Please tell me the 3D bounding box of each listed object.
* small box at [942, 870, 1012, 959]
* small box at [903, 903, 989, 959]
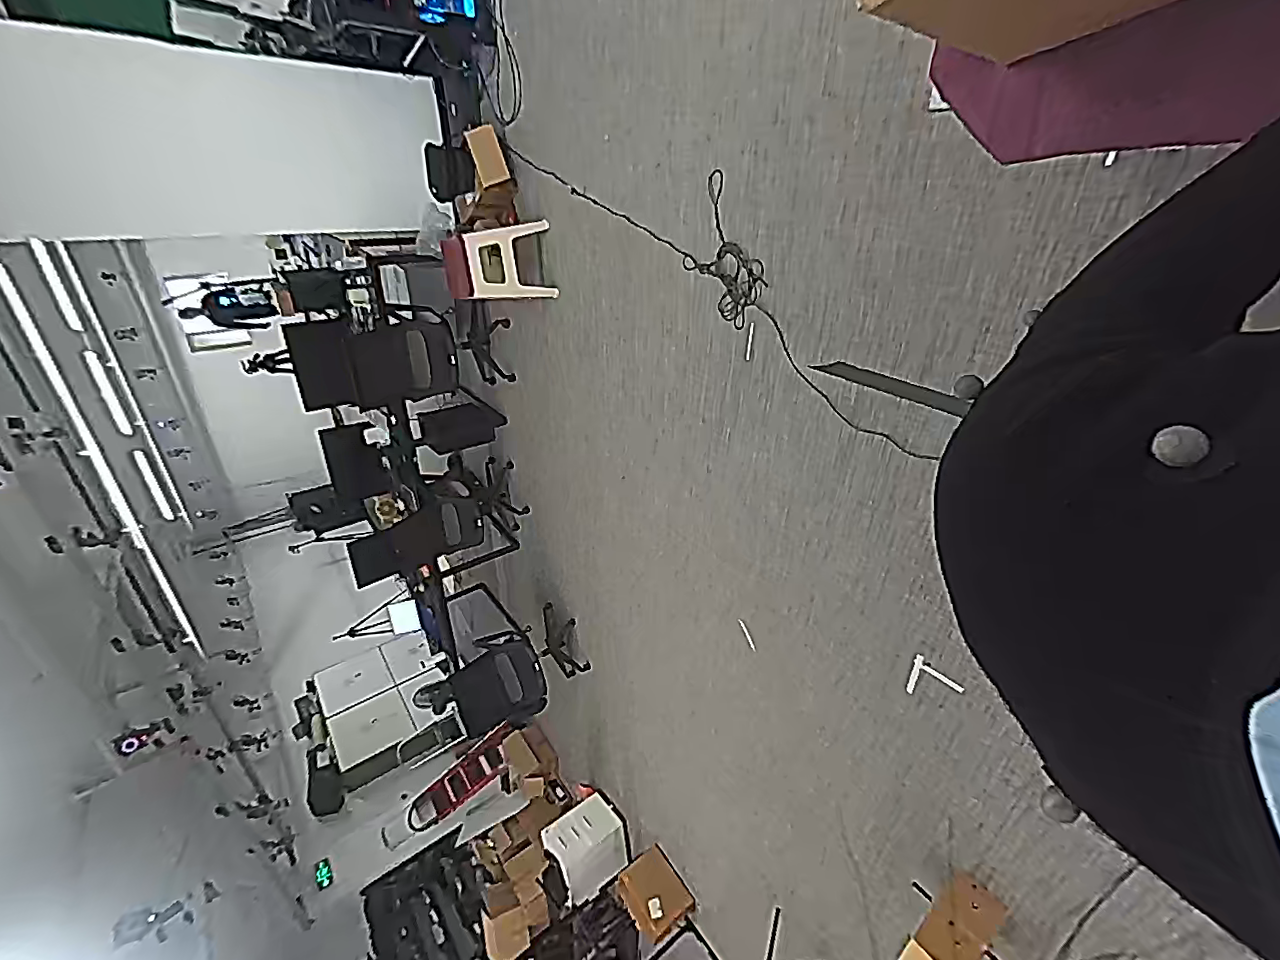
[{"bbox_3d":[1.122,1.479,1.827,0.168,0.176,0.179,32,132,45],"label":"small box"},{"bbox_3d":[0.991,1.533,1.746,0.168,0.176,0.179,33,132,43],"label":"small box"}]
